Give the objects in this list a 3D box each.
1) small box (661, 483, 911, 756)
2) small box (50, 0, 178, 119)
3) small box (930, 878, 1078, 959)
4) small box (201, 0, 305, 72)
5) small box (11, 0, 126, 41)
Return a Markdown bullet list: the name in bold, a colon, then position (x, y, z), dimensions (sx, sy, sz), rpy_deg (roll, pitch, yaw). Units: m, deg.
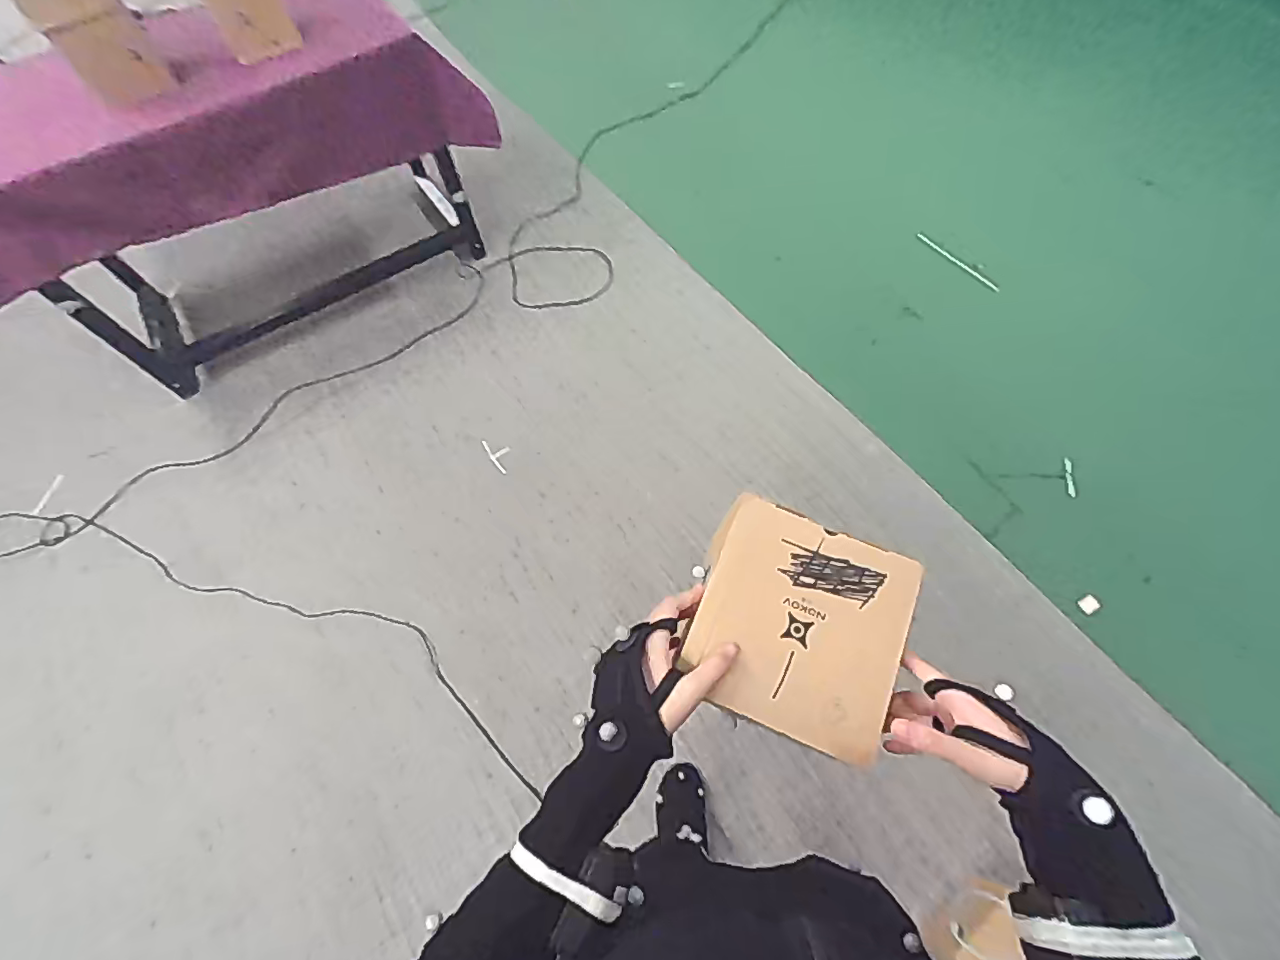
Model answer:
- **small box**: position (0.125, 0.133, 0.522), dimensions (0.168, 0.176, 0.179), rpy_deg (22, 71, 7)
- **small box**: position (-1.305, -1.049, 1.351), dimensions (0.179, 0.176, 0.168), rpy_deg (-31, 64, -13)
- **small box**: position (0.689, 0.907, 1.029), dimensions (0.179, 0.176, 0.168), rpy_deg (-33, 65, -14)
- **small box**: position (-1.024, -1.216, 1.424), dimensions (0.168, 0.176, 0.179), rpy_deg (-30, 64, -12)
- **small box**: position (-1.316, -1.122, 1.204), dimensions (0.179, 0.176, 0.168), rpy_deg (-31, 64, -12)
